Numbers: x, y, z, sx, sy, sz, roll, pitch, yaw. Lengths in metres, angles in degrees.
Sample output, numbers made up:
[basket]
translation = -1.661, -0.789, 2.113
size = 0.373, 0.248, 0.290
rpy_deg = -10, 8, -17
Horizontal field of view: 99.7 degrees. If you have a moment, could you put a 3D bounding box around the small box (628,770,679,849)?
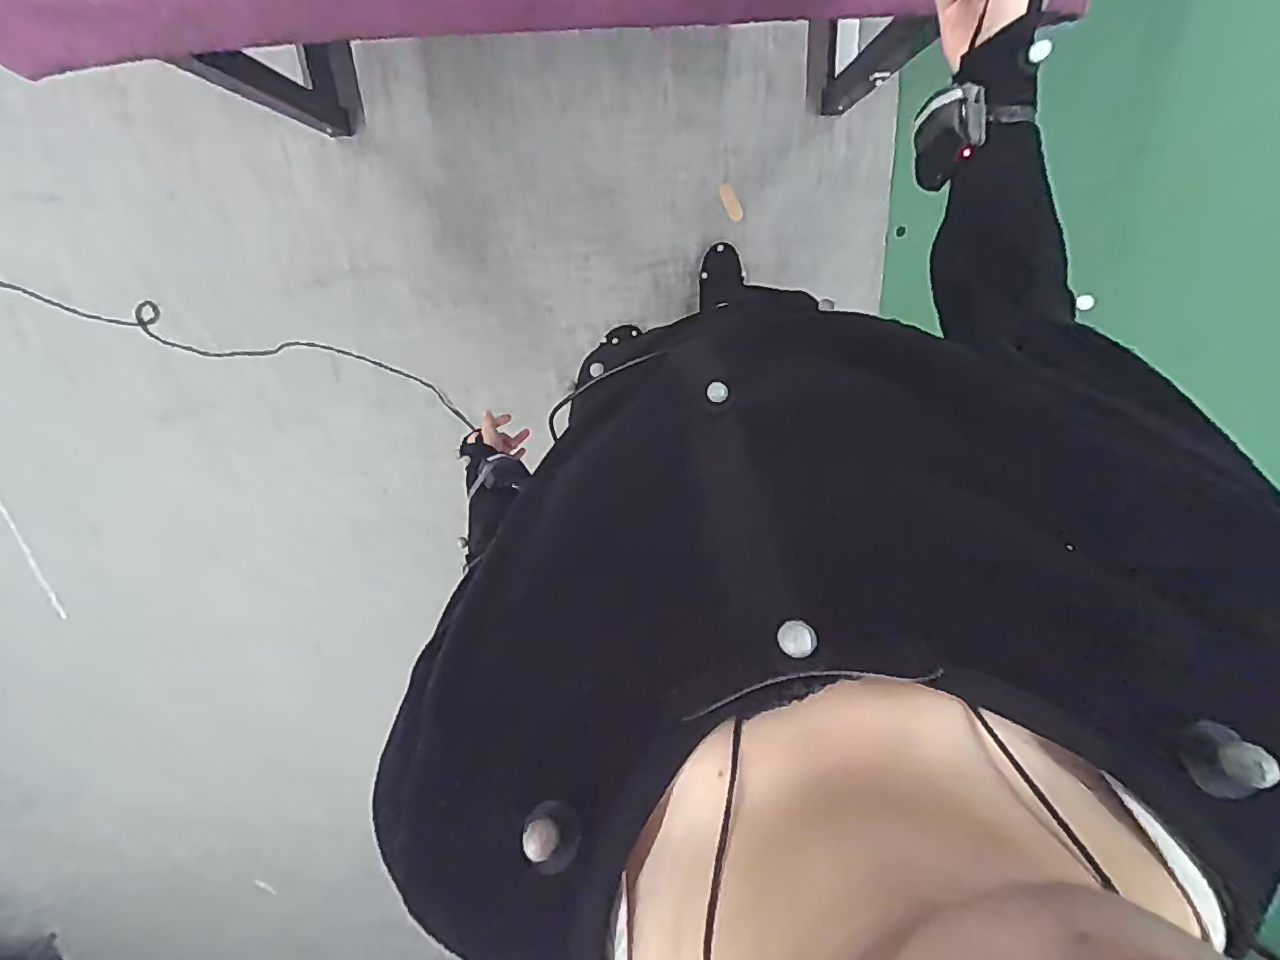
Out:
[small box]
translation = 0.042, 1.127, 1.856
size = 0.168, 0.176, 0.179
rpy_deg = 1, 110, 0
